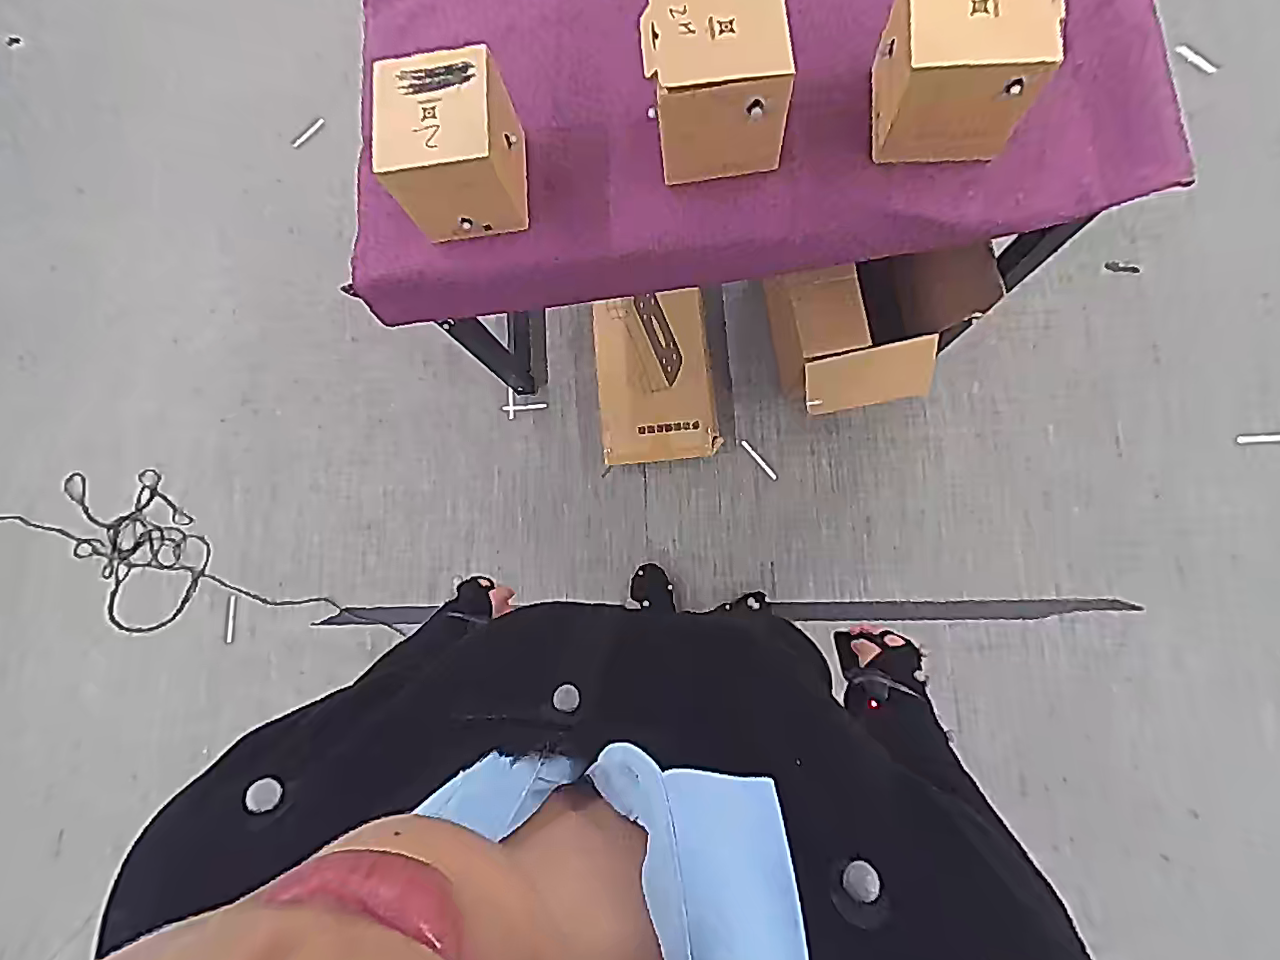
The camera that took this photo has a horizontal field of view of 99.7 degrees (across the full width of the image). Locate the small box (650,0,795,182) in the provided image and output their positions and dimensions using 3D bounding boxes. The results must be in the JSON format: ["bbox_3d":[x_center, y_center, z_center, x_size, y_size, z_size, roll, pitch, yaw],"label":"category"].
[{"bbox_3d":[0.111,-0.562,0.772,0.179,0.176,0.168,-5,79,6],"label":"small box"}]

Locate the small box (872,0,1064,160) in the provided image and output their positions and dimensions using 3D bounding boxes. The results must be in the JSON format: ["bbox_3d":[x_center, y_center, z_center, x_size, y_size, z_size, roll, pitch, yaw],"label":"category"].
[{"bbox_3d":[0.428,-0.567,0.738,0.179,0.176,0.168,2,82,6],"label":"small box"}]
